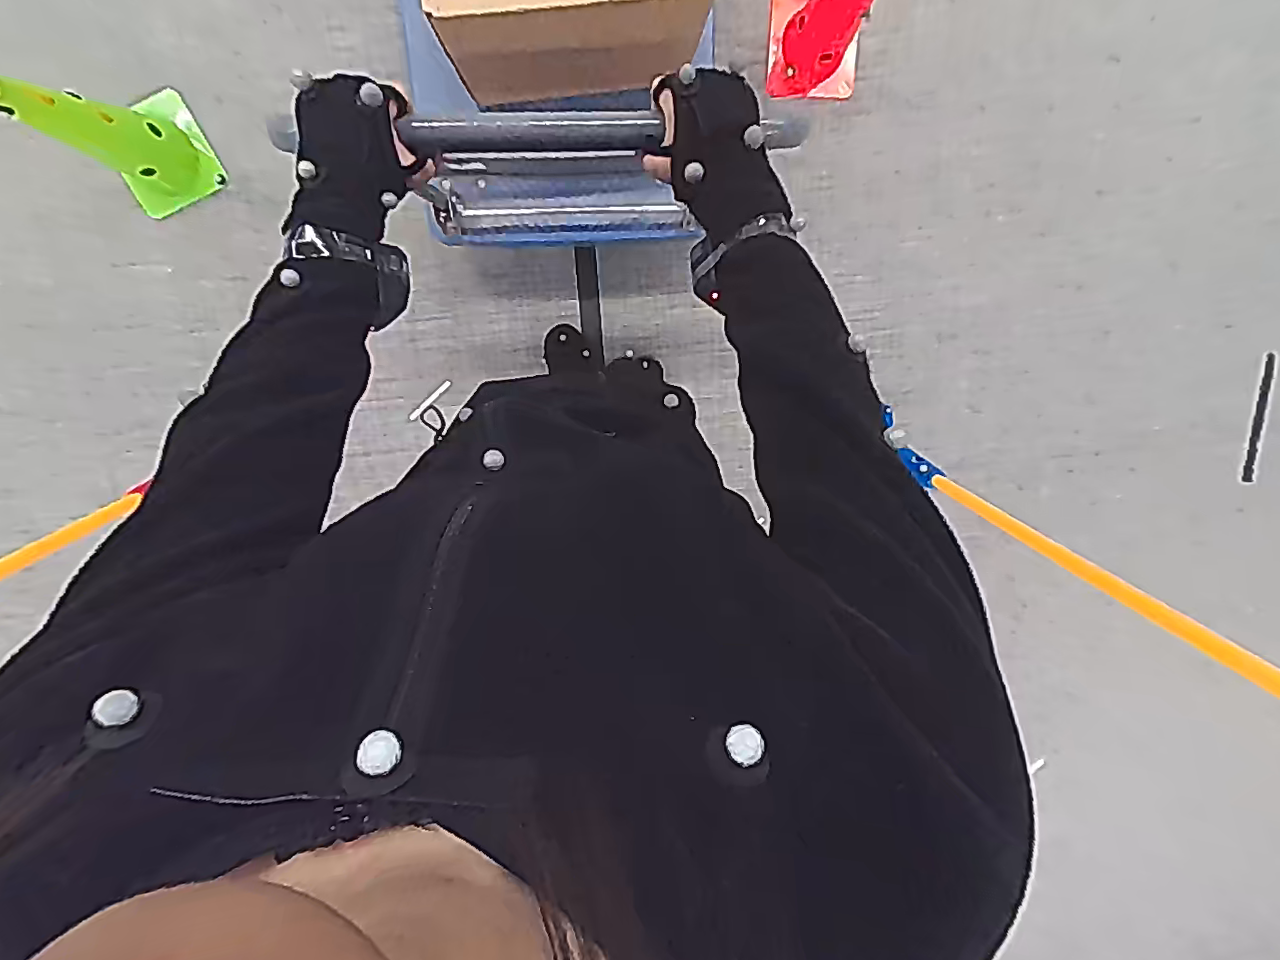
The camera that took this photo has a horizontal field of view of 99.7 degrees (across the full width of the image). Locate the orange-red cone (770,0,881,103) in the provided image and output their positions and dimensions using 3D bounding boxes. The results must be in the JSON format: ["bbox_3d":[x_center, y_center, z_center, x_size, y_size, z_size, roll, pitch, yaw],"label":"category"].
[{"bbox_3d":[0.406,-0.903,1.028,0.199,0.360,0.198,1,106,-6],"label":"orange-red cone"}]
